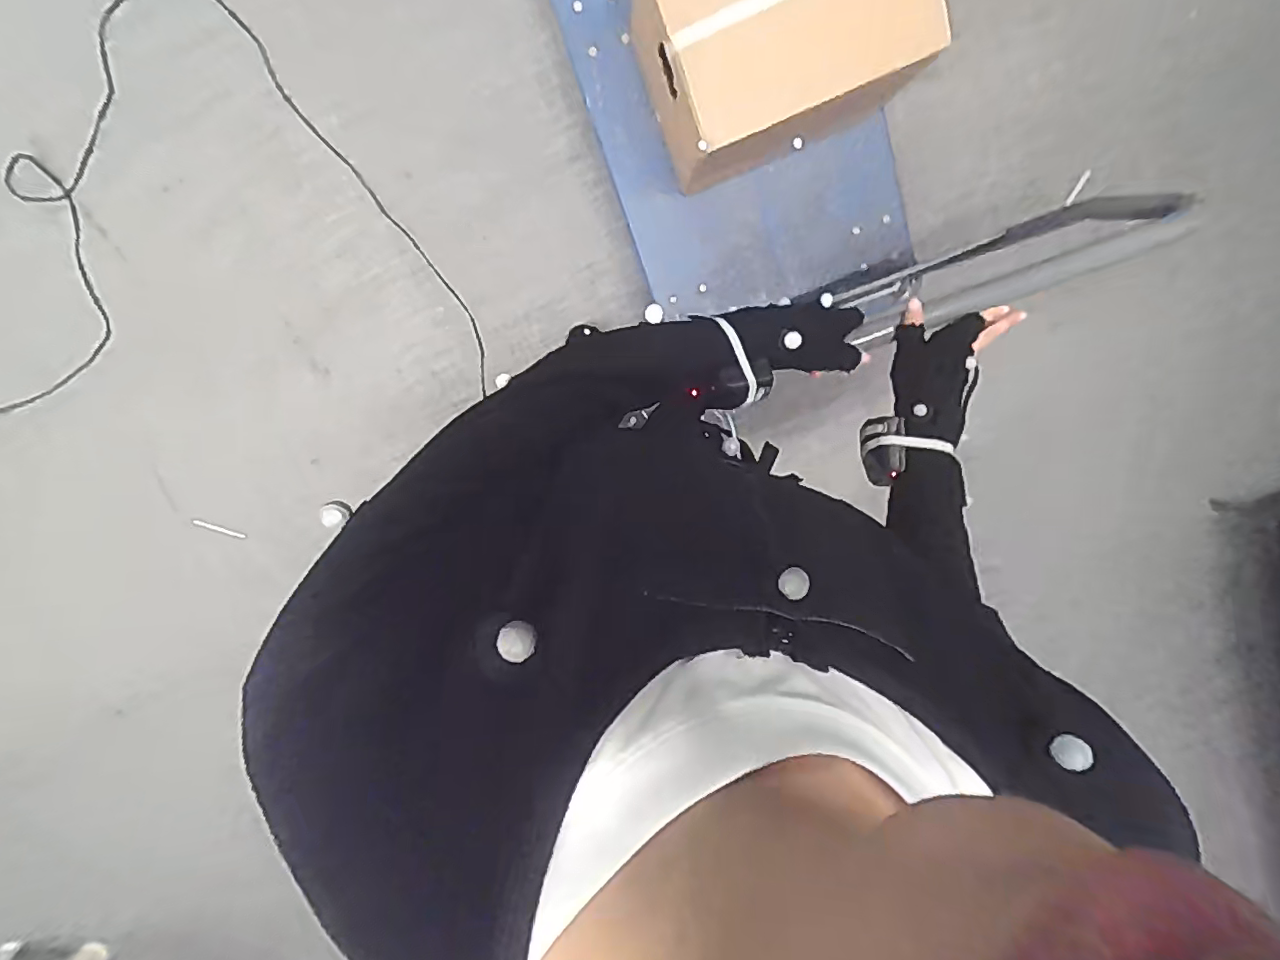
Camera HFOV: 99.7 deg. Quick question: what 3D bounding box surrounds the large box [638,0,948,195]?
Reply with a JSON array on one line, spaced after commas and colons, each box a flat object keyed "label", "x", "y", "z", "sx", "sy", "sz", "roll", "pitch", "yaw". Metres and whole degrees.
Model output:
[{"label": "large box", "x": 0.237, "y": -0.774, "z": 0.958, "sx": 0.408, "sy": 0.320, "sz": 0.320, "roll": -22, "pitch": 104, "yaw": 5}]
